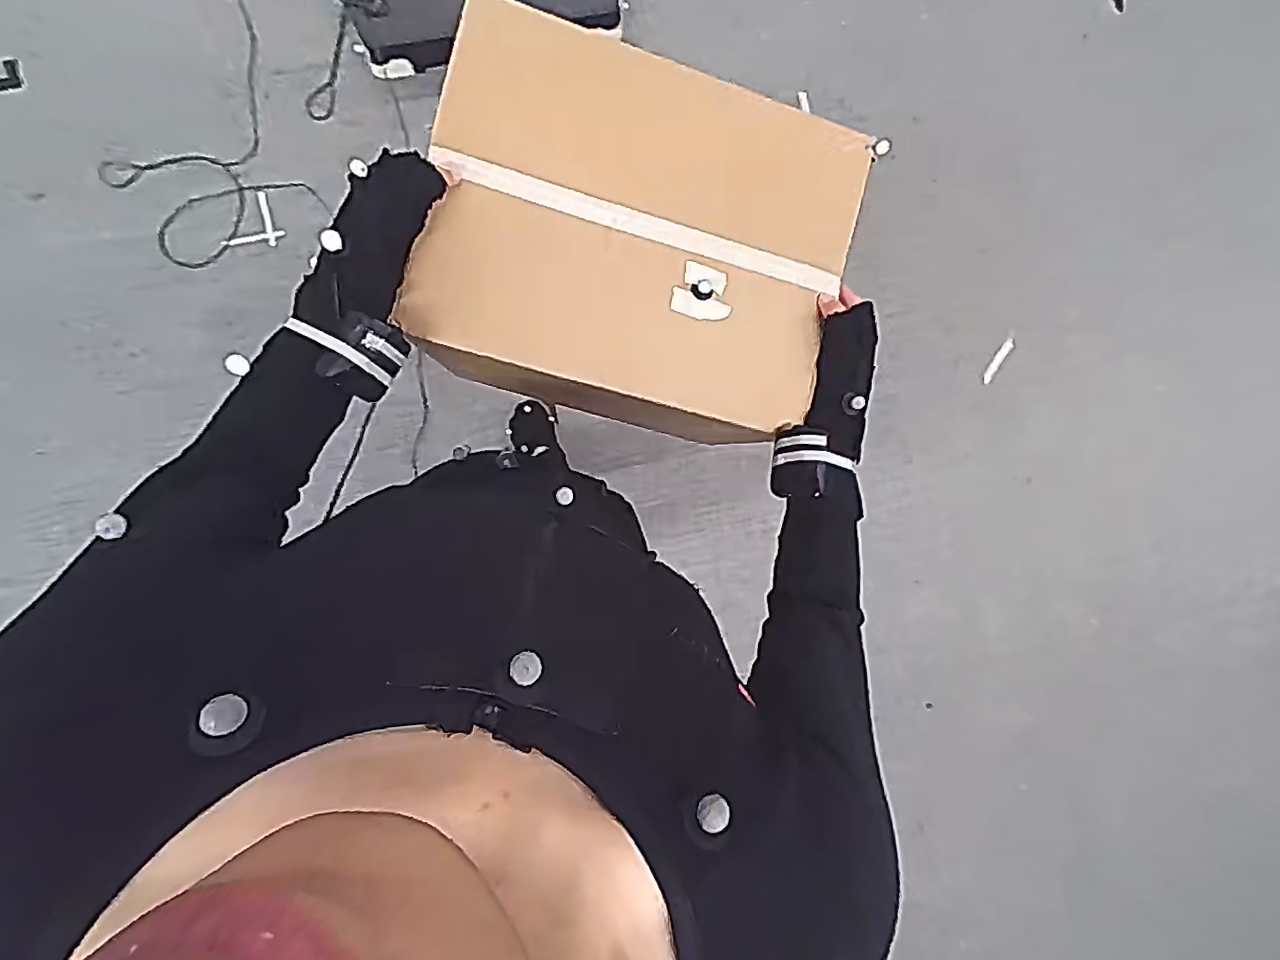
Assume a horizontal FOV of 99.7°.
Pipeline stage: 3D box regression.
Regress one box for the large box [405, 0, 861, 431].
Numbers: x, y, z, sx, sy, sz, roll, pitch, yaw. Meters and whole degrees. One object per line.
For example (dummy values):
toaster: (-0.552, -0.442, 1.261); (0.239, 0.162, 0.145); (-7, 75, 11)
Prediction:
large box: (-0.019, -0.260, 0.669); (0.408, 0.320, 0.320); (13, 91, -9)
